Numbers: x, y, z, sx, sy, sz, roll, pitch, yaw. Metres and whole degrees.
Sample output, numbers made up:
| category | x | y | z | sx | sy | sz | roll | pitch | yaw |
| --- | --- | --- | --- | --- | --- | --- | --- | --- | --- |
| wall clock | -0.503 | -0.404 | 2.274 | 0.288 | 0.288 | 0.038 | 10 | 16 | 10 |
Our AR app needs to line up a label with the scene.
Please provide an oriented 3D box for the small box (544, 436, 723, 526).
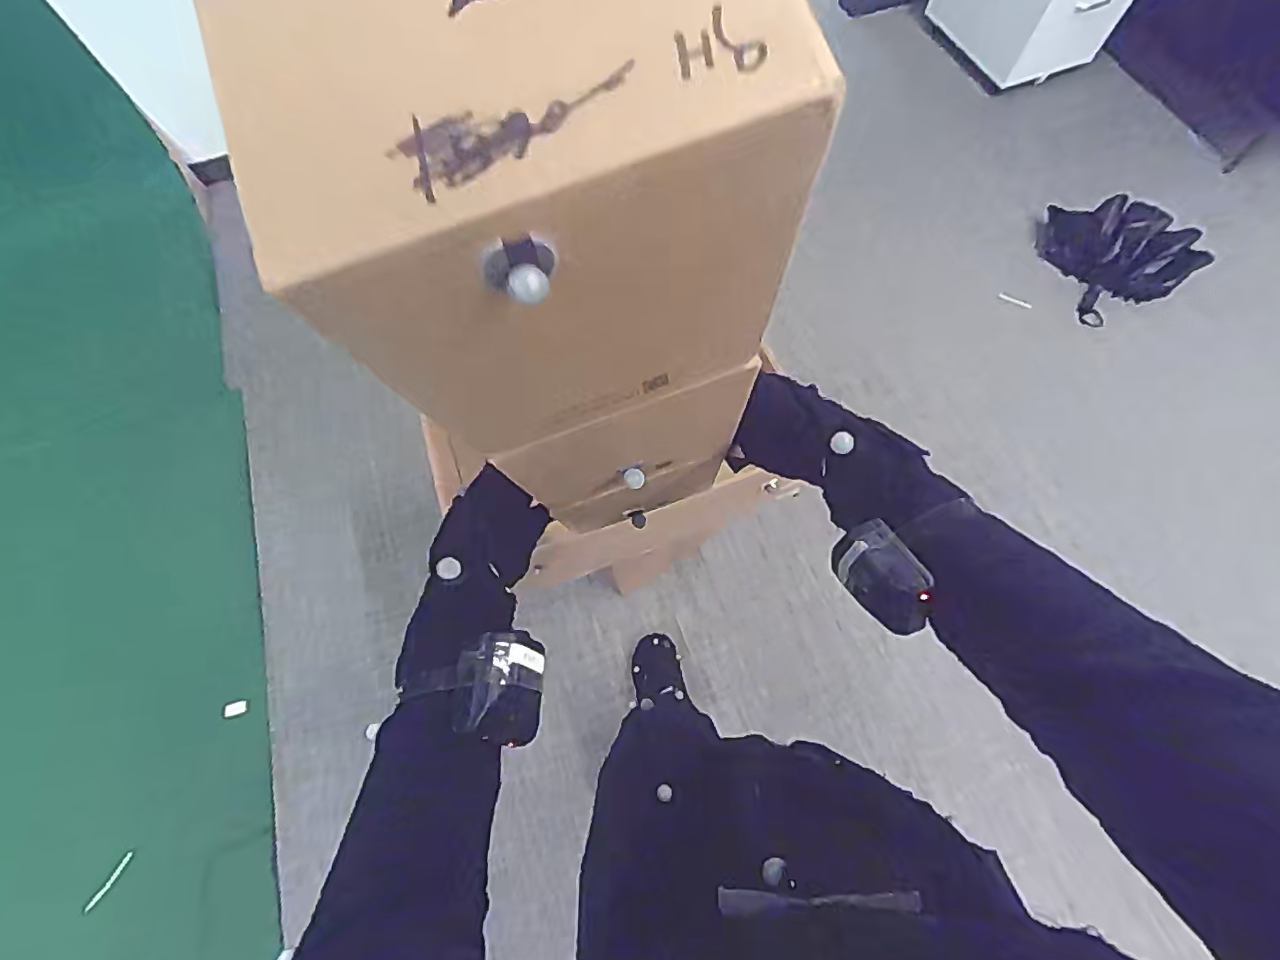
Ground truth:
| category | x | y | z | sx | sy | sz | roll | pitch | yaw |
| --- | --- | --- | --- | --- | --- | --- | --- | --- | --- |
| small box | -0.026 | -0.065 | 0.573 | 0.168 | 0.176 | 0.179 | -20 | 78 | -1 |

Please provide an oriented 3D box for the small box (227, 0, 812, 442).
| category | x | y | z | sx | sy | sz | roll | pitch | yaw |
| --- | --- | --- | --- | --- | --- | --- | --- | --- | --- |
| small box | -0.047 | -0.142 | 0.254 | 0.168 | 0.176 | 0.179 | -20 | 76 | 0 |

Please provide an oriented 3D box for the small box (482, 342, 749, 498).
| category | x | y | z | sx | sy | sz | roll | pitch | yaw |
| --- | --- | --- | --- | --- | --- | --- | --- | --- | --- |
| small box | -0.034 | -0.104 | 0.413 | 0.168 | 0.176 | 0.179 | -19 | 77 | -1 |
